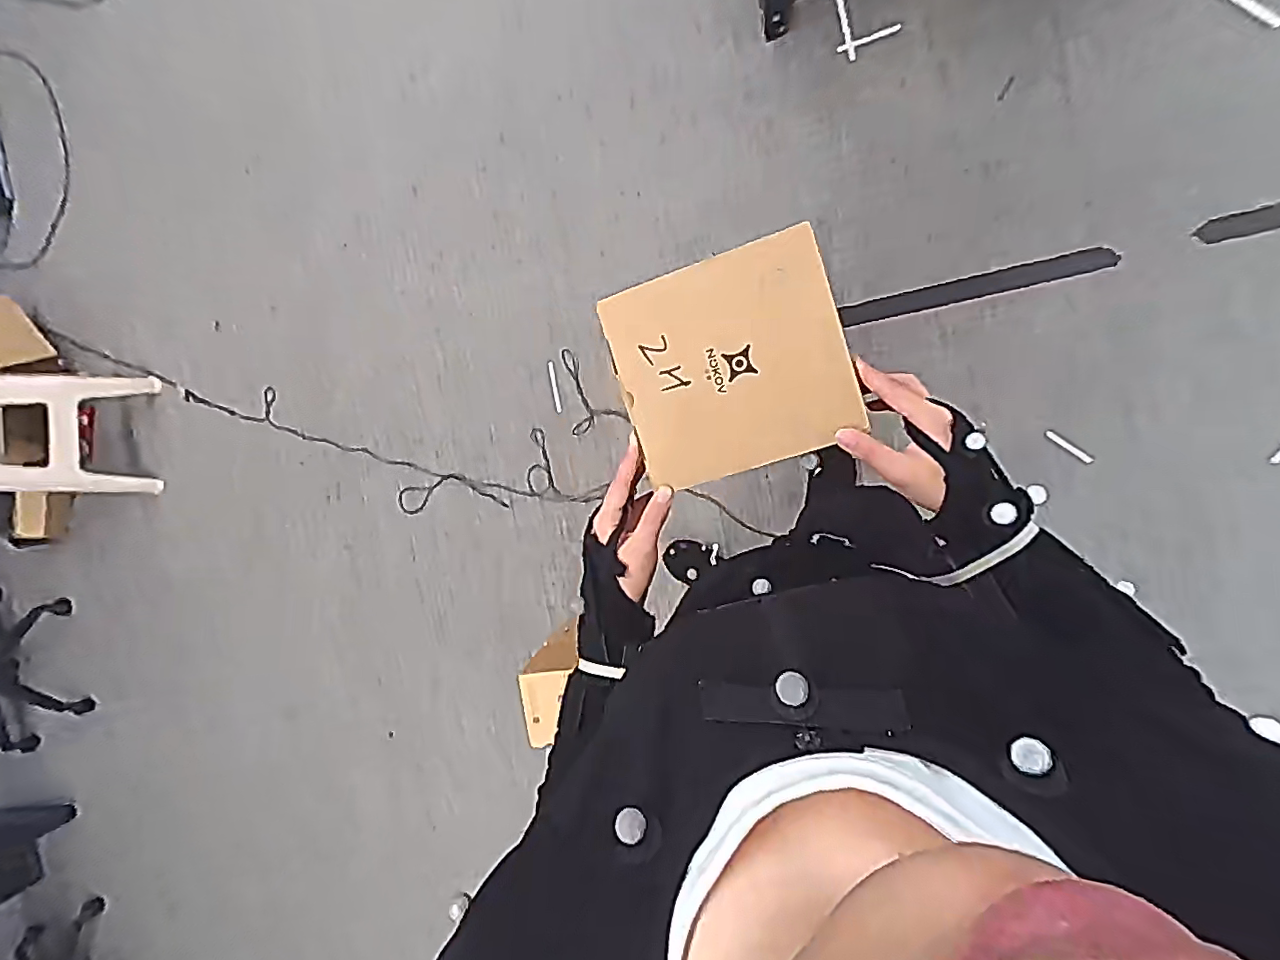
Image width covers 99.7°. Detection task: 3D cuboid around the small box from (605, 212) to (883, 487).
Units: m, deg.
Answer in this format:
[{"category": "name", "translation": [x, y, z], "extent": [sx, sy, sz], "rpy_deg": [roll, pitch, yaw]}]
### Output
[{"category": "small box", "translation": [0.089, -0.103, 0.485], "extent": [0.179, 0.176, 0.168], "rpy_deg": [-16, 92, 12]}]
